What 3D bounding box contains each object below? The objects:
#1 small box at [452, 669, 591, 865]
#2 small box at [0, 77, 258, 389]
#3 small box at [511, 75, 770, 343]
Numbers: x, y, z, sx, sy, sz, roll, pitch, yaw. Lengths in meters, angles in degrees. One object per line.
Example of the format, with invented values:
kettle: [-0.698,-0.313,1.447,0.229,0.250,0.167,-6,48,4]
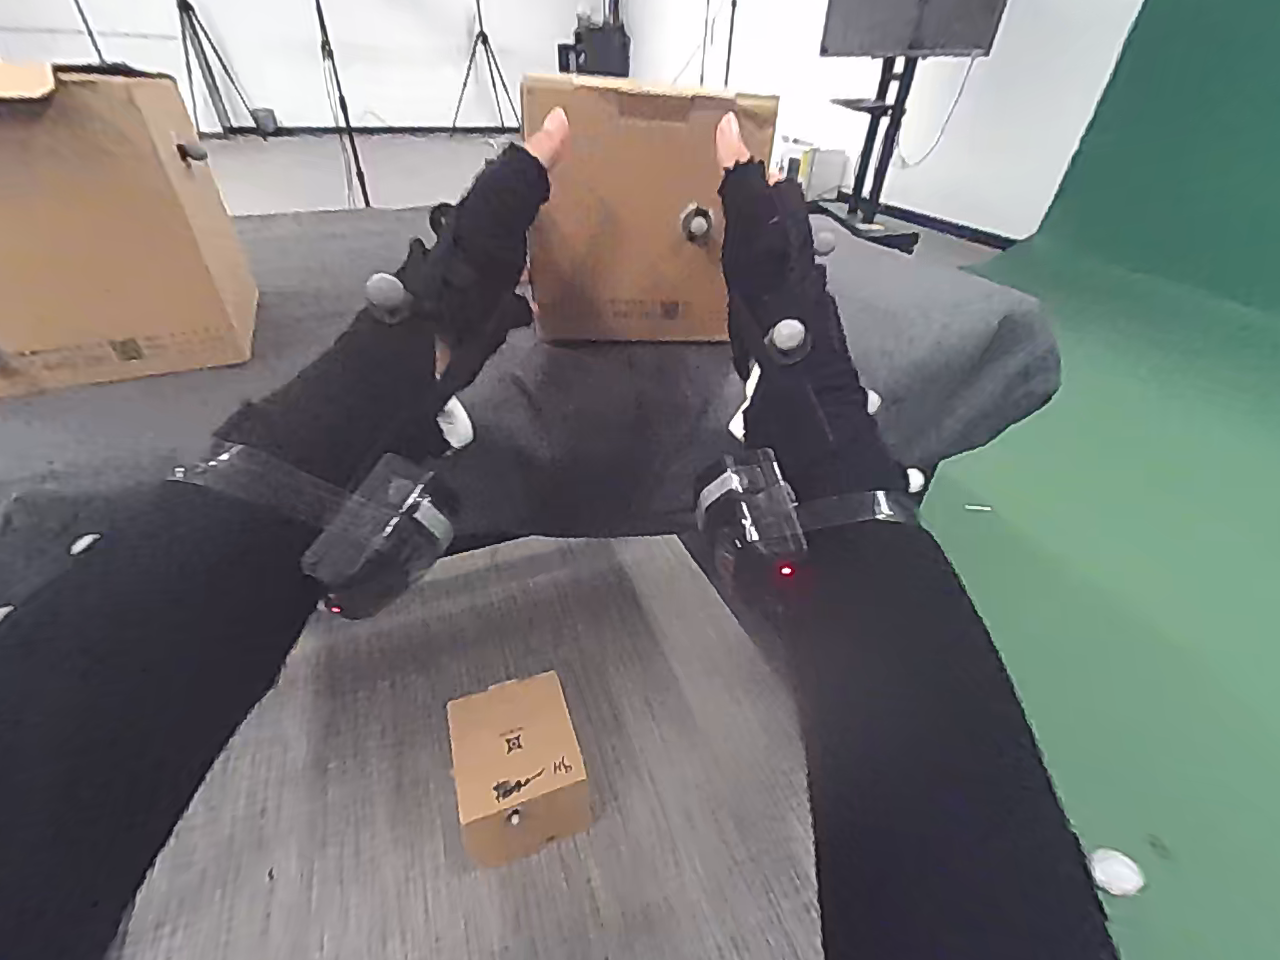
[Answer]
small box: [-0.176,0.423,0.808,0.168,0.176,0.179,-13,38,-17]
small box: [-0.390,-0.171,0.372,0.168,0.176,0.179,-16,39,-22]
small box: [-0.007,-0.223,0.447,0.168,0.176,0.179,0,37,-6]
